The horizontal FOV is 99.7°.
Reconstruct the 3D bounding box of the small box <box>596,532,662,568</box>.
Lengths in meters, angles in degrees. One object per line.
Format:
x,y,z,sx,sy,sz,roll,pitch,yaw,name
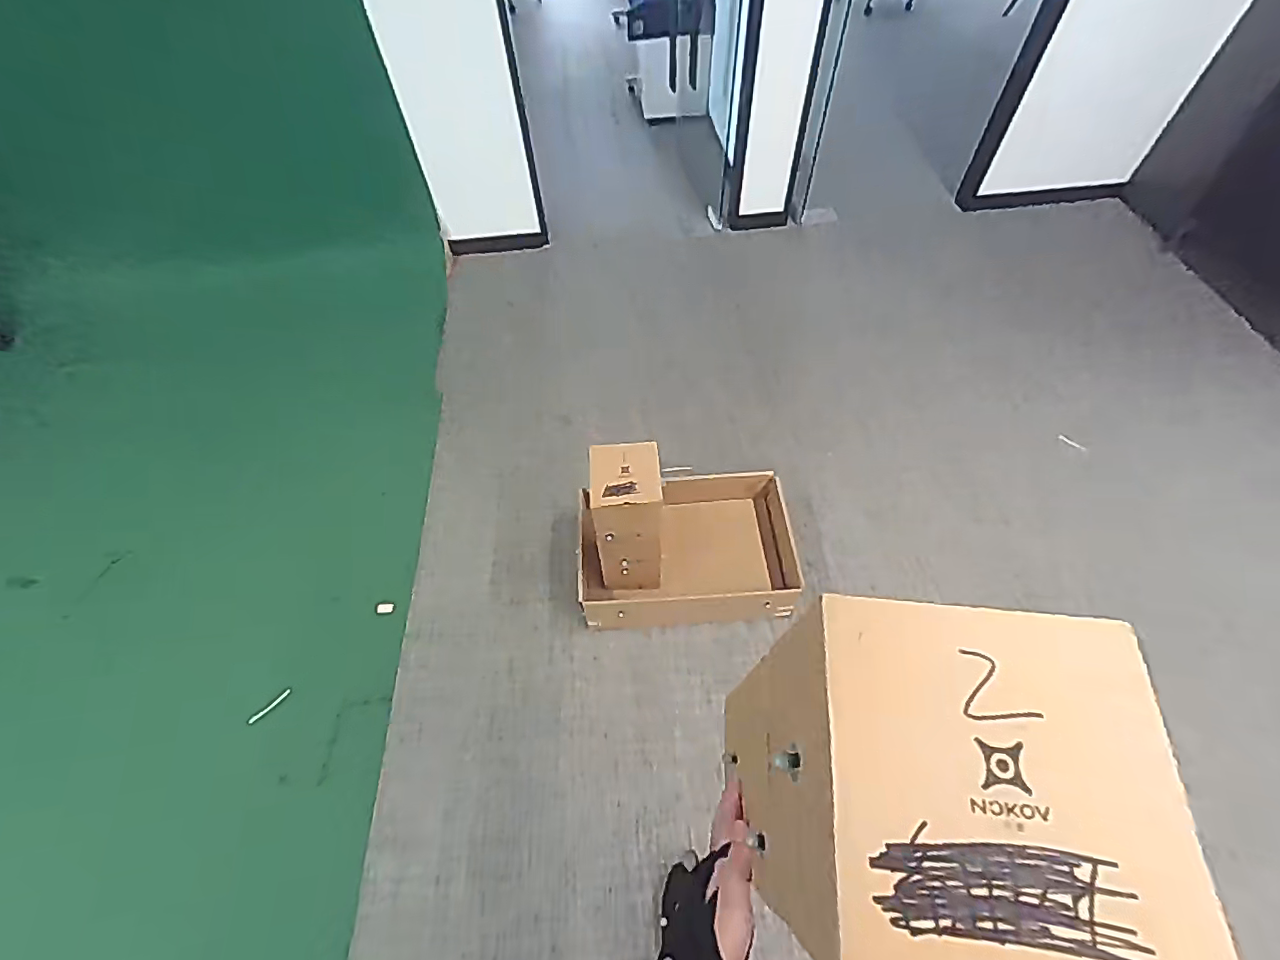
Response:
-0.028,0.122,1.449,0.168,0.176,0.179,-2,56,1,small box

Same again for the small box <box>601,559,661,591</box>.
-0.026,0.211,1.586,0.168,0.176,0.179,-2,55,0,small box

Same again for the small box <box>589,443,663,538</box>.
-0.032,0.032,1.312,0.168,0.176,0.179,-4,55,-1,small box

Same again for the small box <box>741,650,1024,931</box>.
0.183,0.258,0.475,0.168,0.176,0.179,2,63,3,small box

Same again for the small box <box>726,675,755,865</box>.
0.189,0.333,0.617,0.168,0.176,0.179,3,62,4,small box
